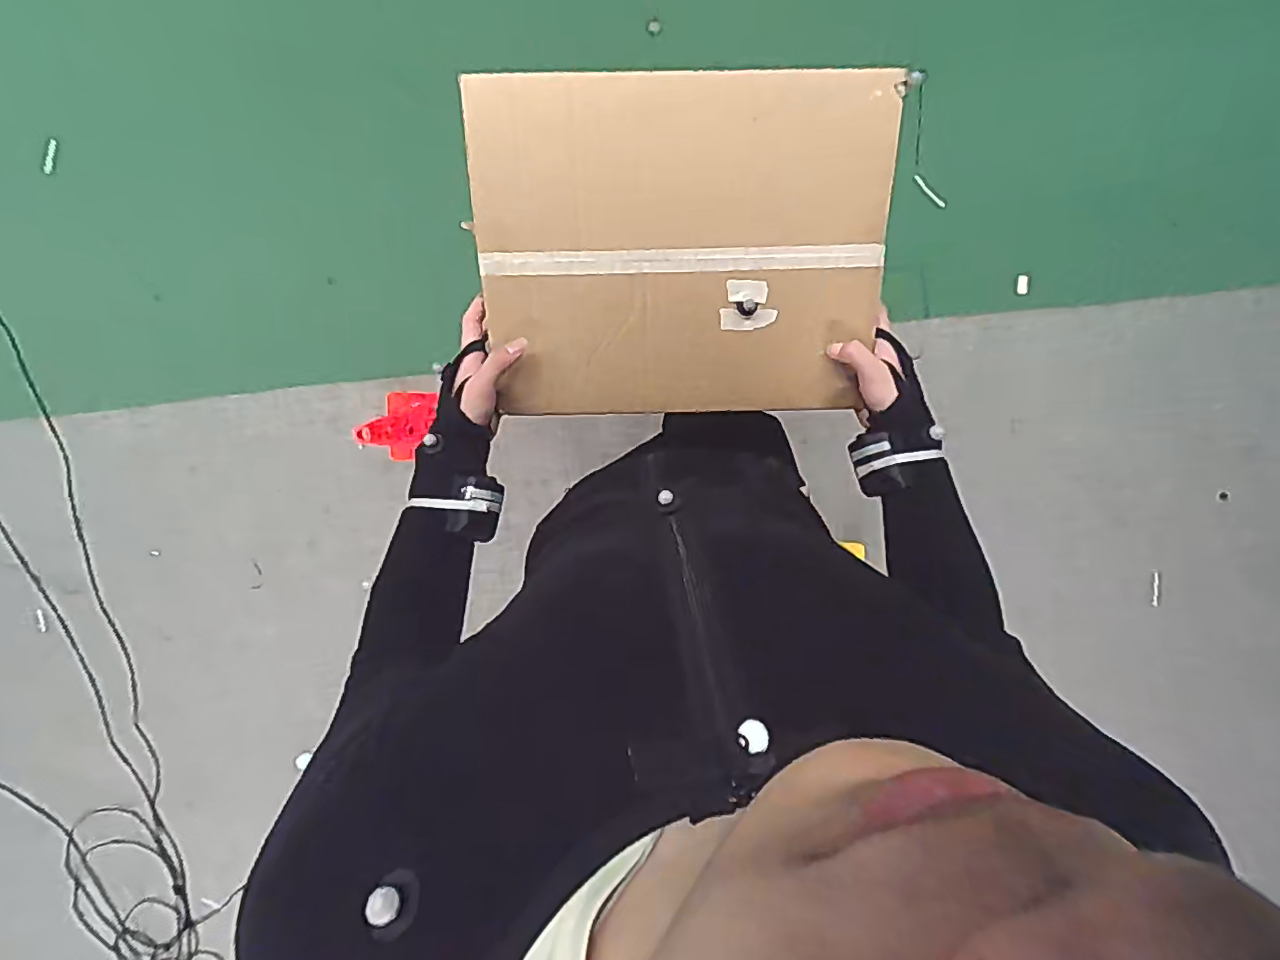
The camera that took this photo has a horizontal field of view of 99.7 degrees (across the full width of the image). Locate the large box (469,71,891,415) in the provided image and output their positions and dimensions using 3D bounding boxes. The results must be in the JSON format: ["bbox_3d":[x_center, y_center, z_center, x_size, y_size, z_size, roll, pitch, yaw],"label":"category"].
[{"bbox_3d":[0.038,-0.277,0.691,0.408,0.320,0.320,-2,111,-1],"label":"large box"}]

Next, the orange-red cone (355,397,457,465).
[{"bbox_3d":[-0.635,-0.119,1.408,0.199,0.360,0.198,1,98,1],"label":"orange-red cone"}]
